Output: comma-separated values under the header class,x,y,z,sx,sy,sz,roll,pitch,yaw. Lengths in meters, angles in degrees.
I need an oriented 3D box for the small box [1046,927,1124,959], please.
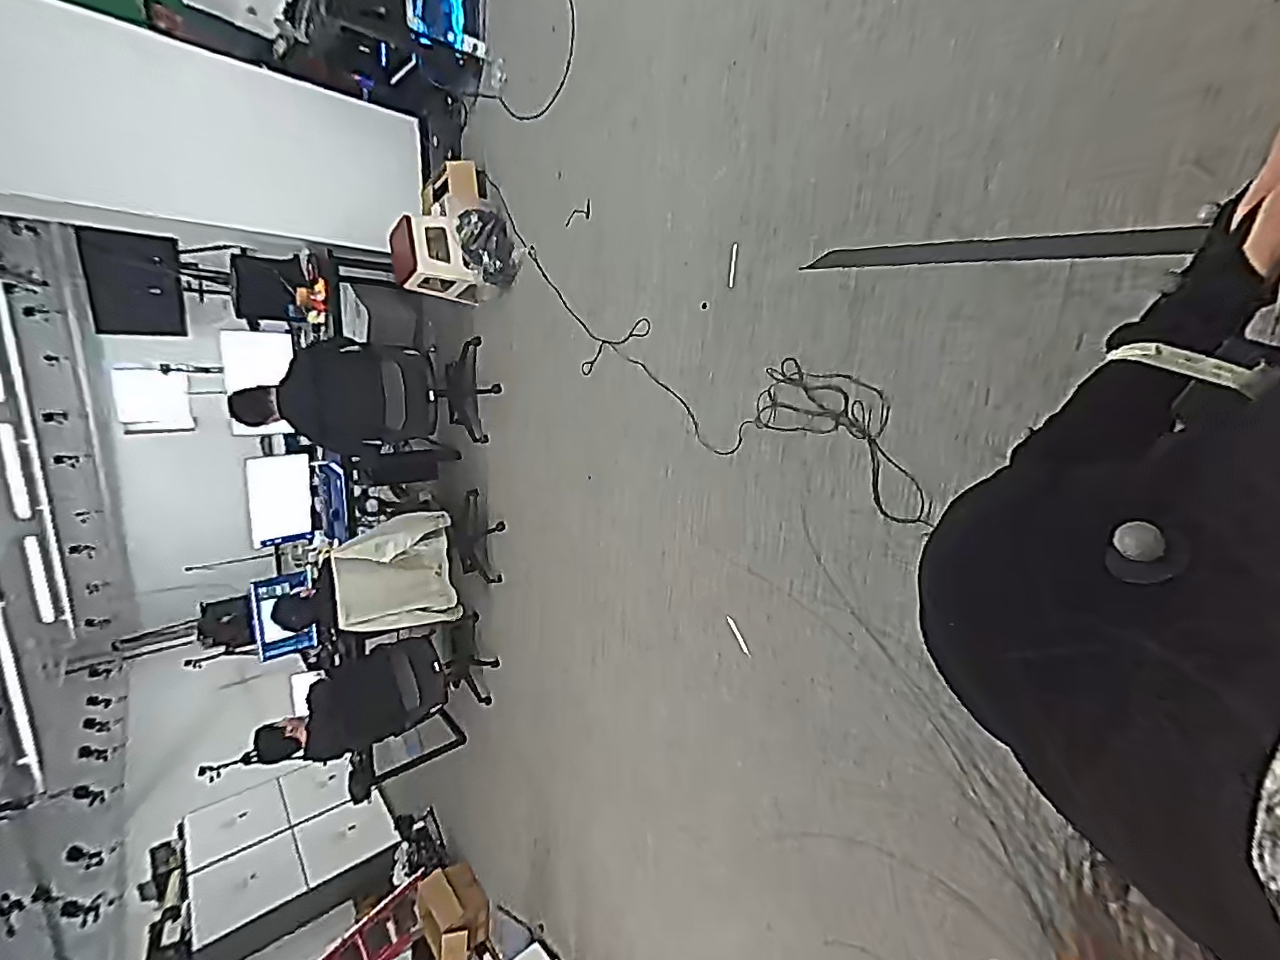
class,x,y,z,sx,sy,sz,roll,pitch,yaw
small box,1.037,1.189,1.244,0.179,0.176,0.168,19,110,45
